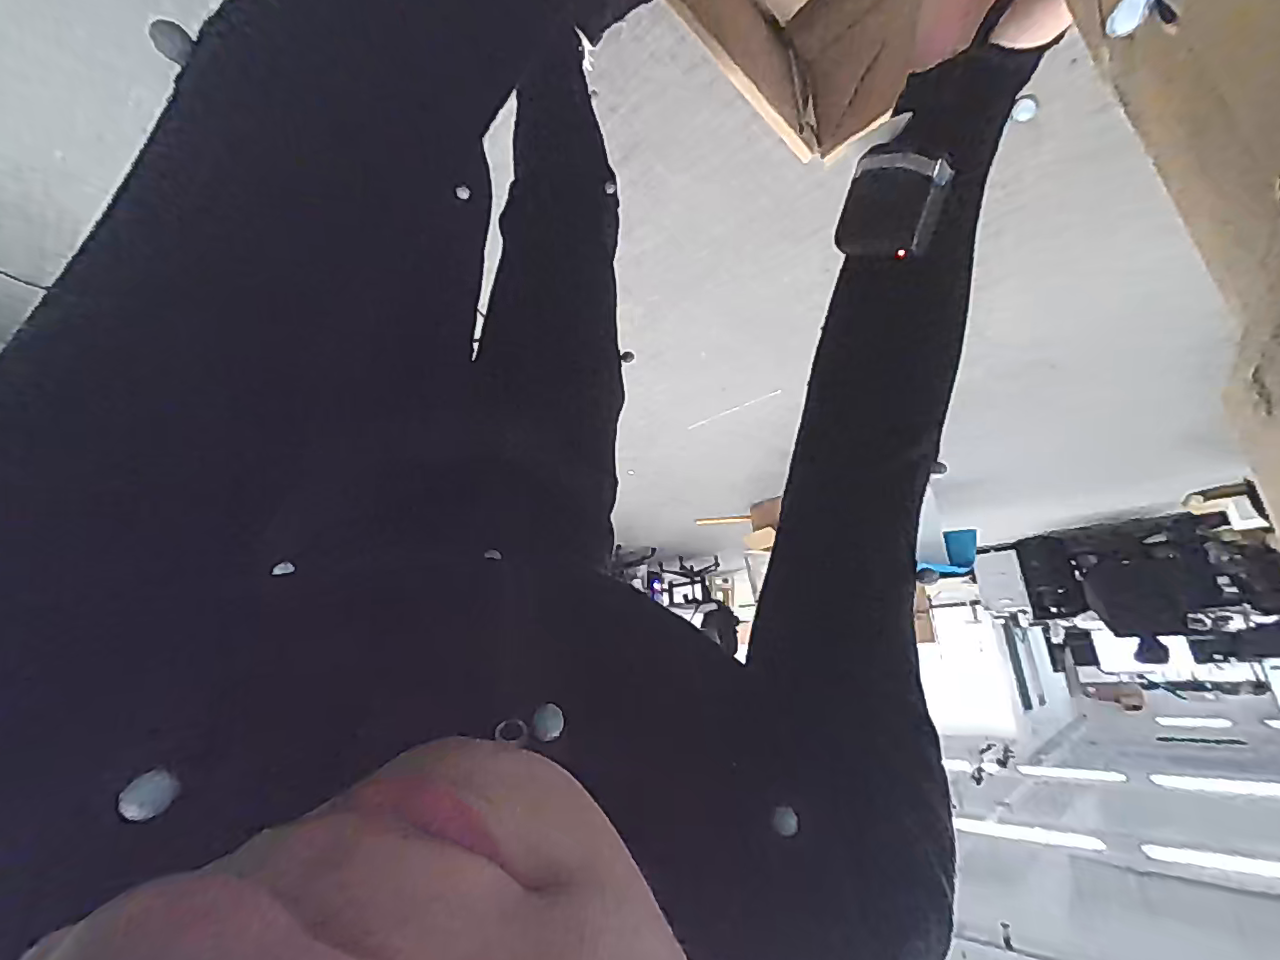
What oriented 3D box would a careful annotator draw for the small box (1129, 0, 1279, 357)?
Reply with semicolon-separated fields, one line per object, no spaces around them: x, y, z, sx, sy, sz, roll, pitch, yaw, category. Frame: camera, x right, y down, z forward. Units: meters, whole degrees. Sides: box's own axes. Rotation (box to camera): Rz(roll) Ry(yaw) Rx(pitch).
0.252;-0.156;0.122;0.179;0.176;0.168;-19;157;39;small box
